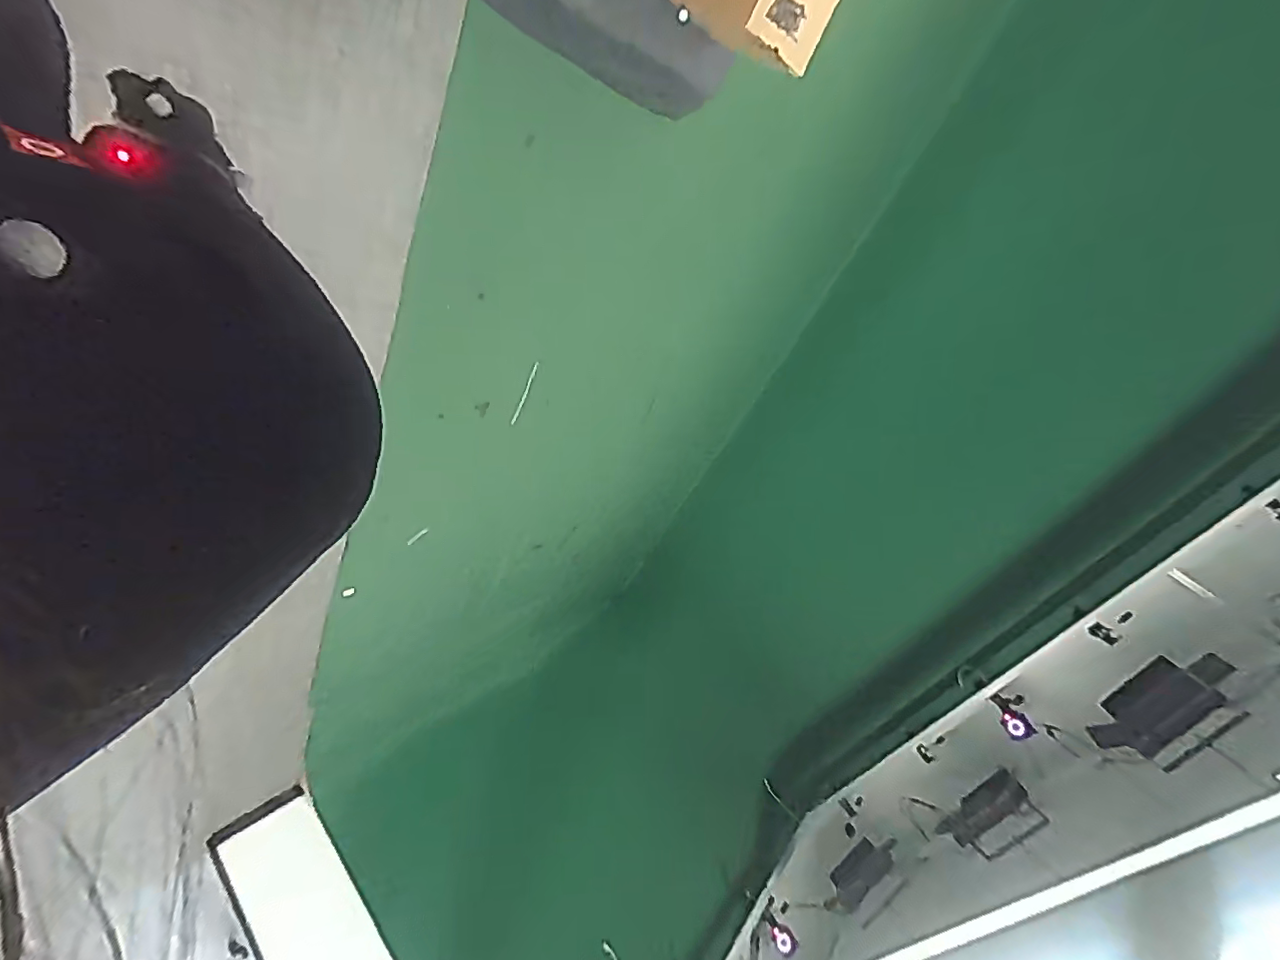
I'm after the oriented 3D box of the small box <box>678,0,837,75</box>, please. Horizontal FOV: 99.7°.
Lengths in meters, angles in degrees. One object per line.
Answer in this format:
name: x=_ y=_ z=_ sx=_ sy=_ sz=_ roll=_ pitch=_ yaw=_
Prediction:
small box: x=0.164 y=-0.701 z=0.727 sx=0.168 sy=0.176 sz=0.179 roll=-15 pitch=141 yaw=-50
